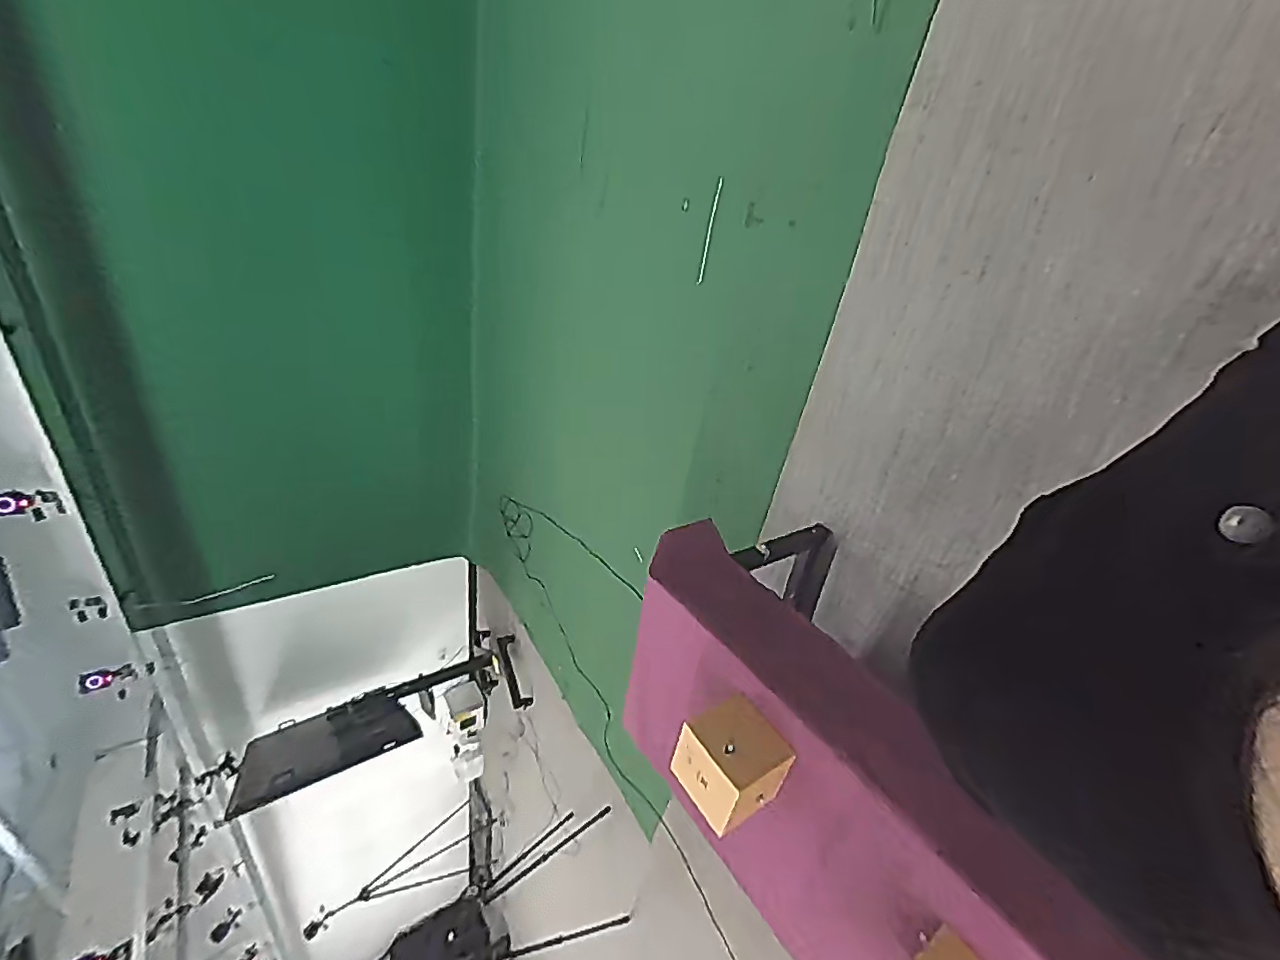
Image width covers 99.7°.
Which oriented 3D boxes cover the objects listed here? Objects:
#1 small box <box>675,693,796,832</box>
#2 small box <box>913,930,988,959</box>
[{"bbox_3d":[0.205,0.599,1.169,0.179,0.176,0.168,42,132,41],"label":"small box"},{"bbox_3d":[0.486,0.846,0.827,0.179,0.176,0.168,35,128,45],"label":"small box"}]
